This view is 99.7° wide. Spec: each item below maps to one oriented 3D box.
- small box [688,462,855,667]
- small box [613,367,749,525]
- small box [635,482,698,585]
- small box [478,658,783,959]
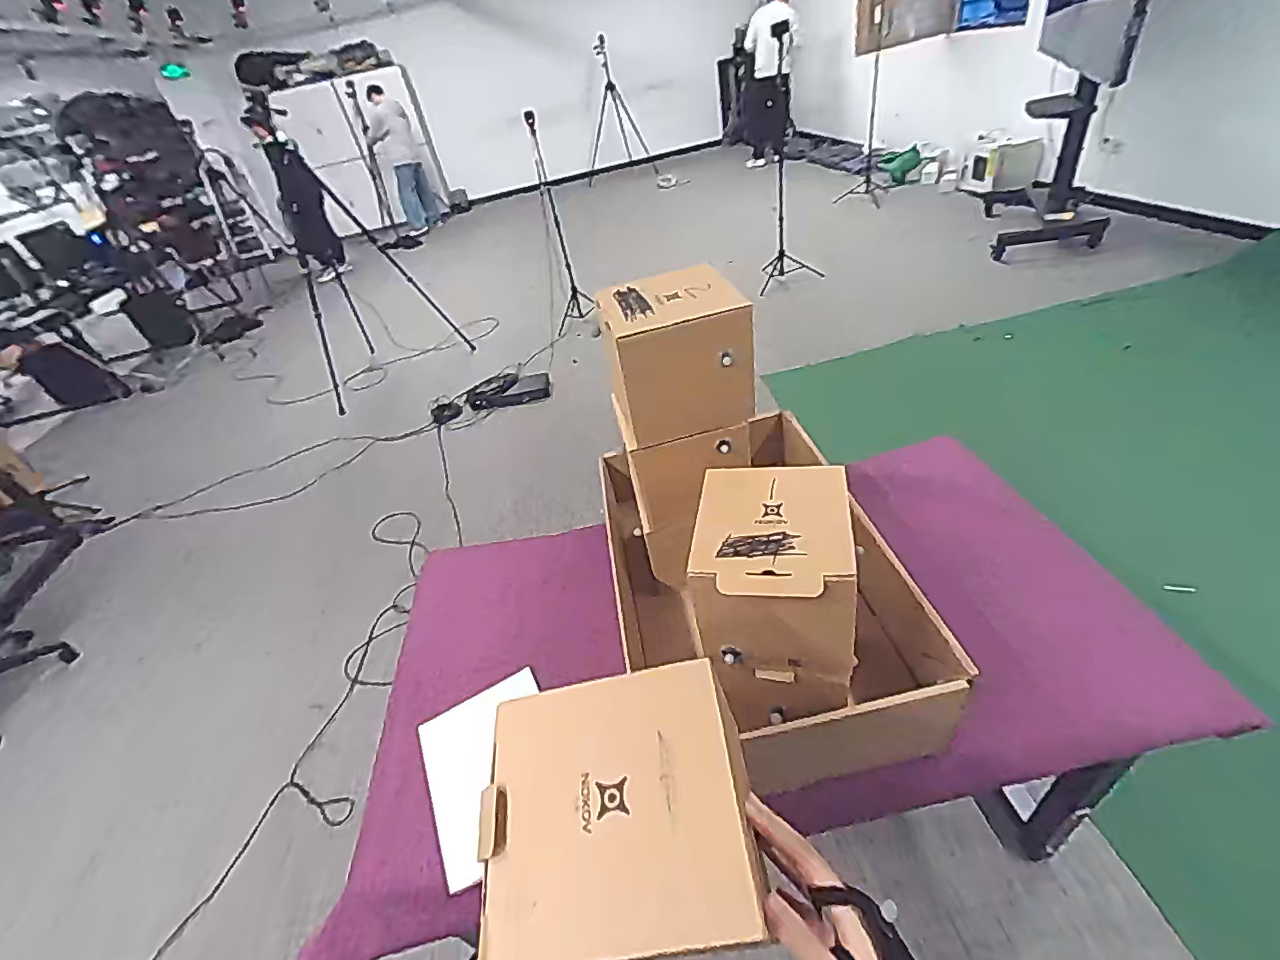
[{"bbox_3d":[0.161,0.099,0.638,0.168,0.176,0.179,-1,38,17],"label":"small box"},{"bbox_3d":[0.068,-0.052,0.859,0.179,0.176,0.168,-15,40,-2],"label":"small box"},{"bbox_3d":[0.092,0.069,0.965,0.168,0.176,0.179,-13,40,0],"label":"small box"},{"bbox_3d":[0.001,0.264,0.421,0.179,0.176,0.168,-14,48,8],"label":"small box"}]
